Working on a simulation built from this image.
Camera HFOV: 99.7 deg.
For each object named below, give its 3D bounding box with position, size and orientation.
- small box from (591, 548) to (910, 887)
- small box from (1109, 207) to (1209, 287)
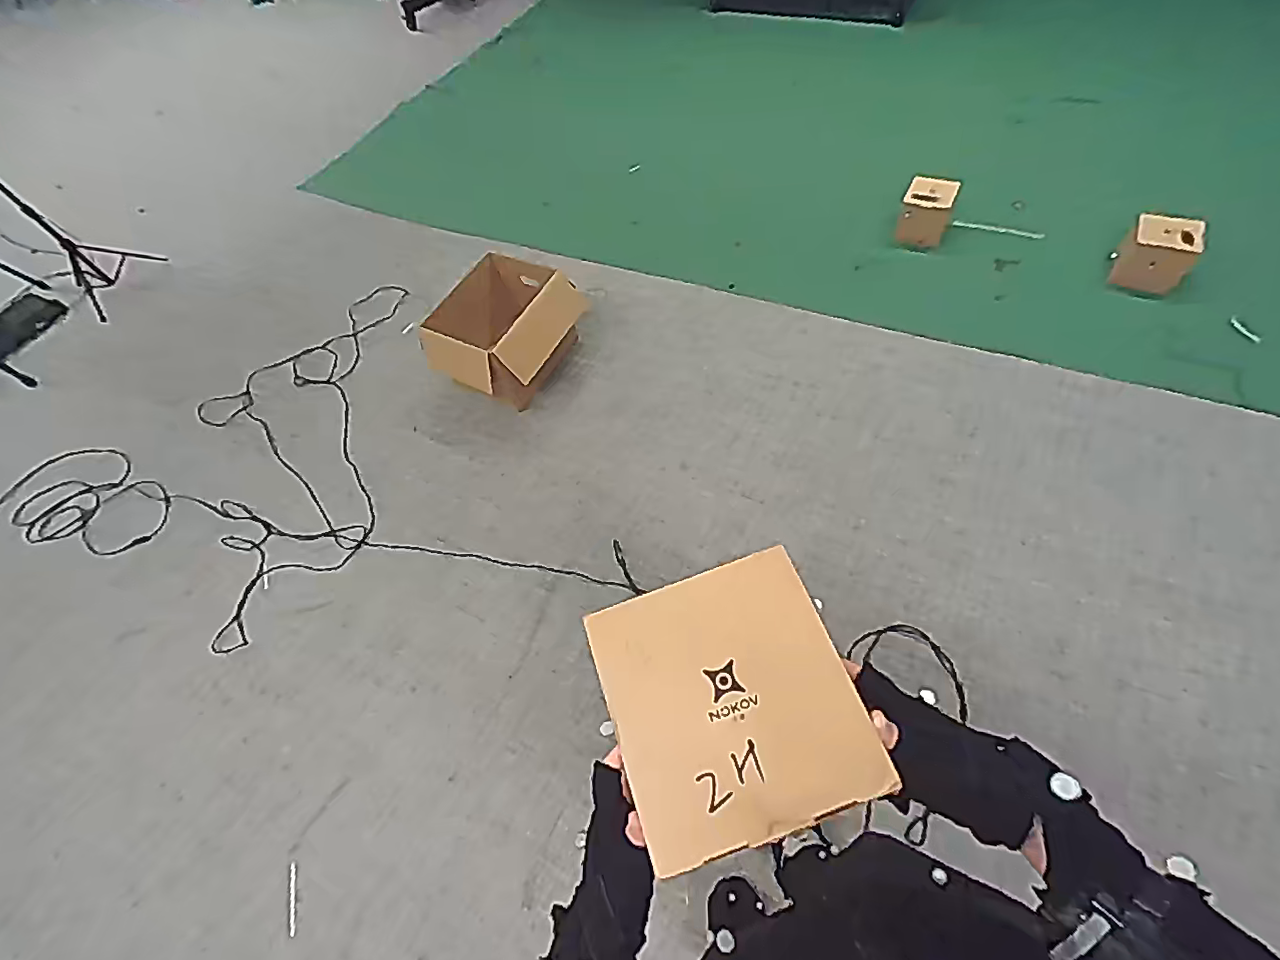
[{"bbox_3d":[0.073,0.183,0.434,0.168,0.176,0.179,-19,63,-2],"label":"small box"},{"bbox_3d":[1.722,-0.770,1.800,0.179,0.176,0.168,22,65,20],"label":"small box"}]
